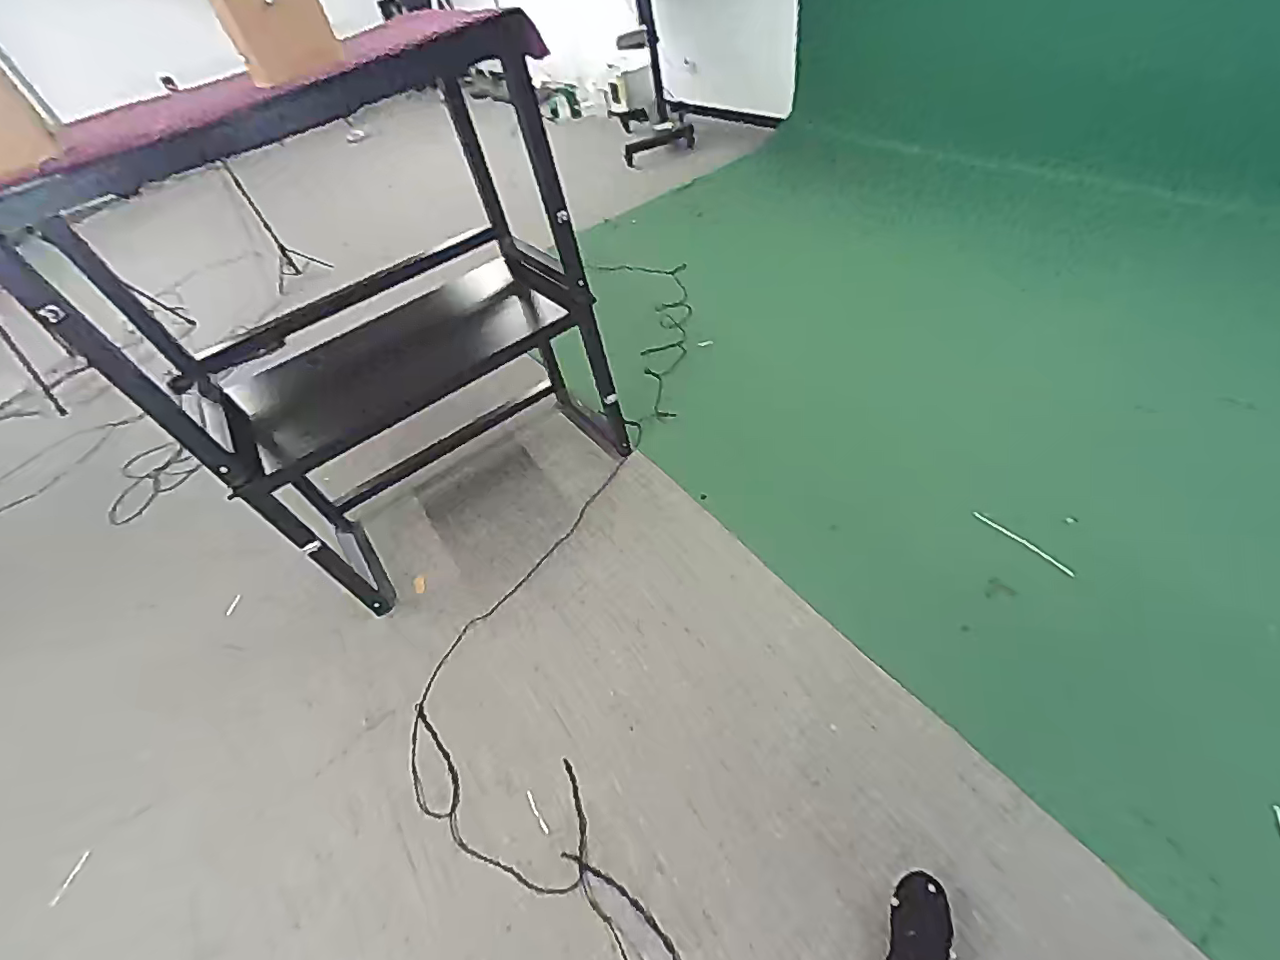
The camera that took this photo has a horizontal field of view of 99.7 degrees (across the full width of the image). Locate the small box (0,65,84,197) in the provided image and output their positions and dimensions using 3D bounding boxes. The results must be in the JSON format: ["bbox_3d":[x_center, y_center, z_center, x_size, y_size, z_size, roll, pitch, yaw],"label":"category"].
[{"bbox_3d":[-1.191,-0.632,0.986,0.179,0.176,0.168,-33,48,-18],"label":"small box"}]

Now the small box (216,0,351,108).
[{"bbox_3d":[-0.754,-0.929,1.161,0.179,0.176,0.168,-37,49,-19],"label":"small box"}]
